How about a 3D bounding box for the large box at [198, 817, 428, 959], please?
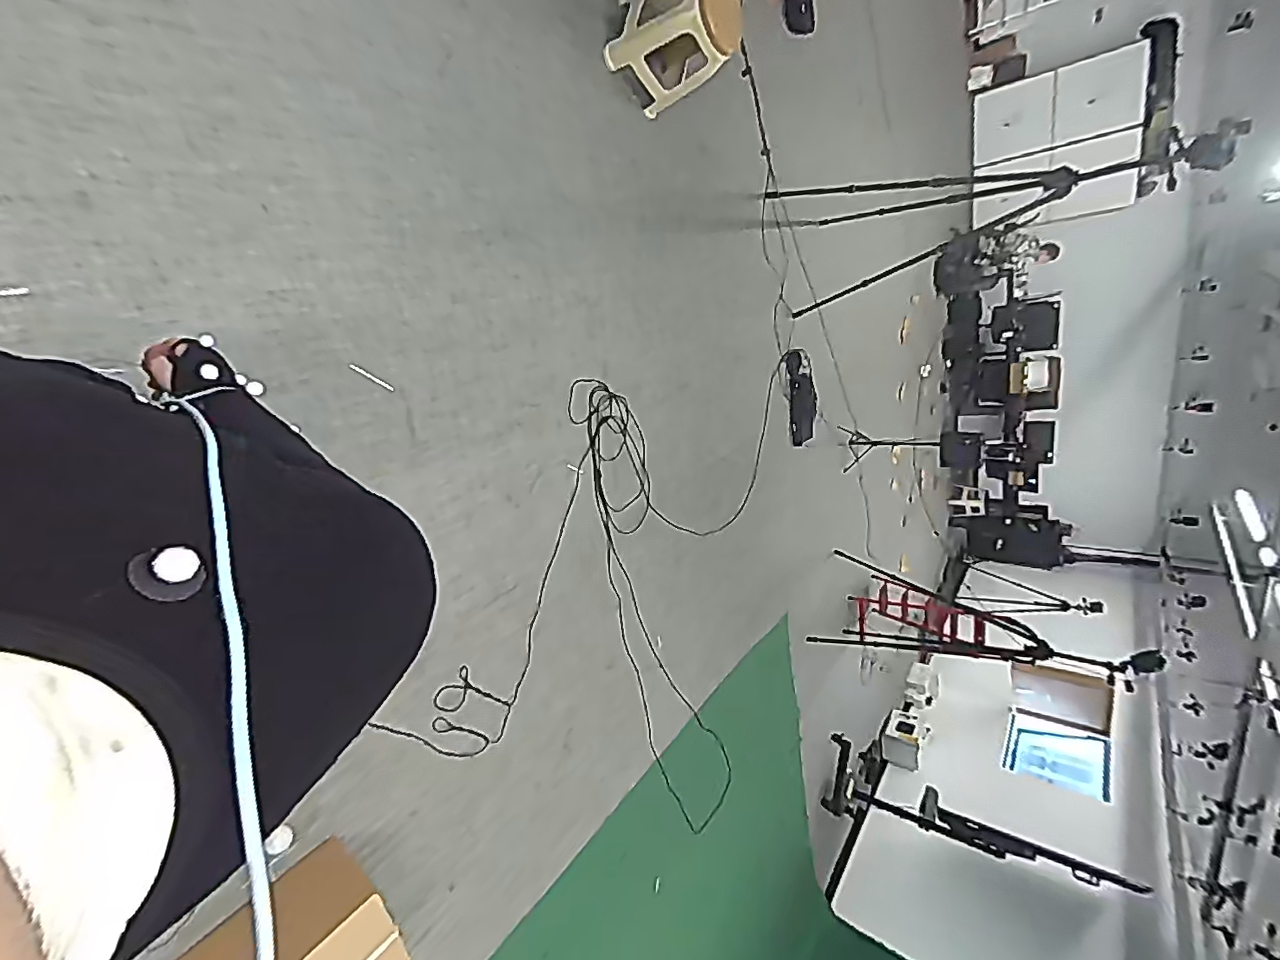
[{"bbox_3d":[-0.873,1.244,1.469,0.408,0.320,0.320,-31,116,-42],"label":"large box"}]
